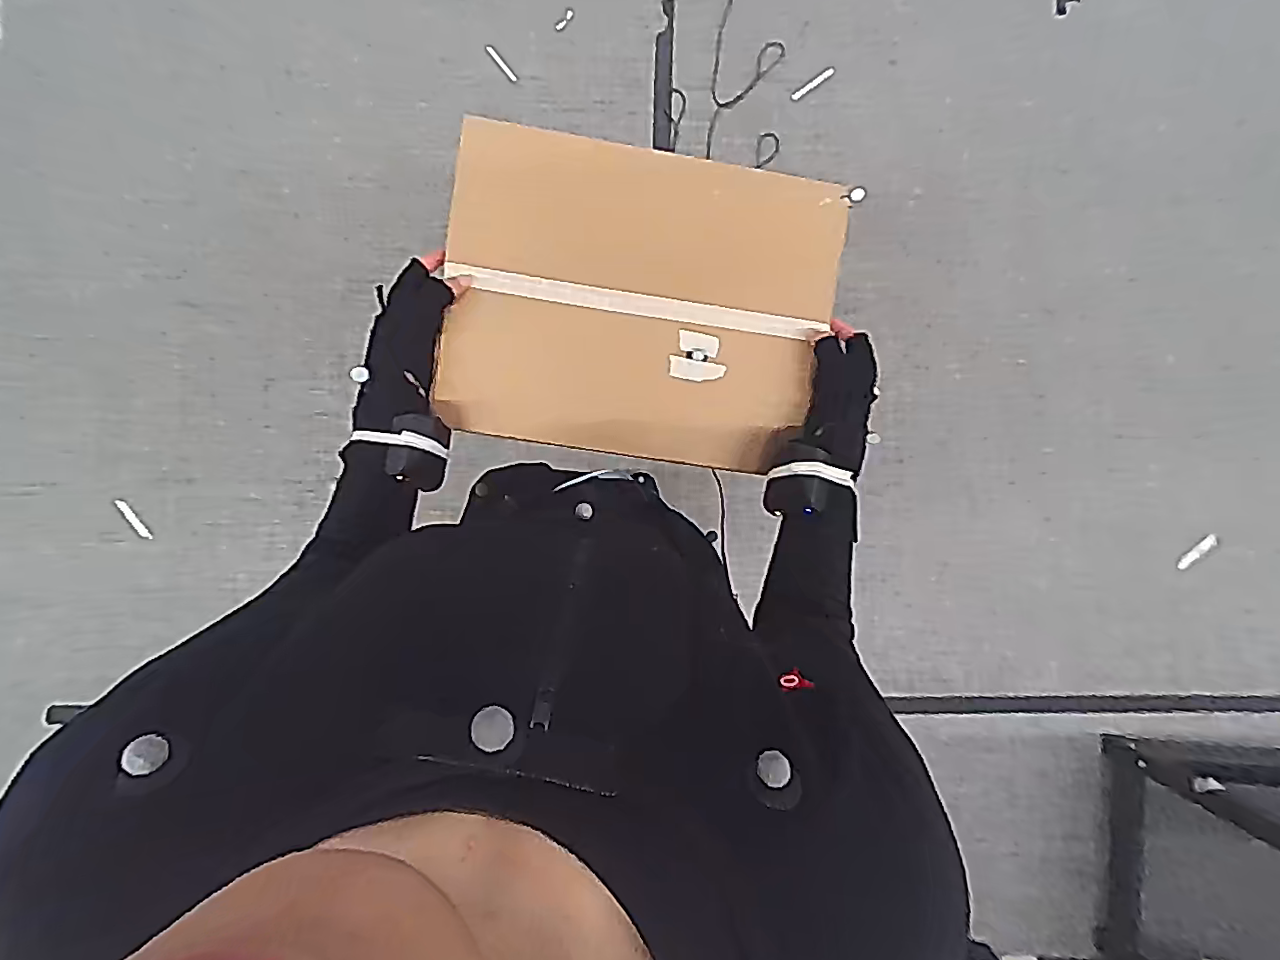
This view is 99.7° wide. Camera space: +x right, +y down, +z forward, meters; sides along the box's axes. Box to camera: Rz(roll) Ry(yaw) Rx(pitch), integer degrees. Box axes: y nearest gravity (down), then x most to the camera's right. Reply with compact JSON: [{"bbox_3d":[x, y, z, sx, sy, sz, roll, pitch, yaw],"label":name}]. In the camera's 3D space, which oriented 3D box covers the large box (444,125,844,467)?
[{"bbox_3d":[-0.006,-0.202,0.726,0.408,0.320,0.320,8,95,-5],"label":"large box"}]
